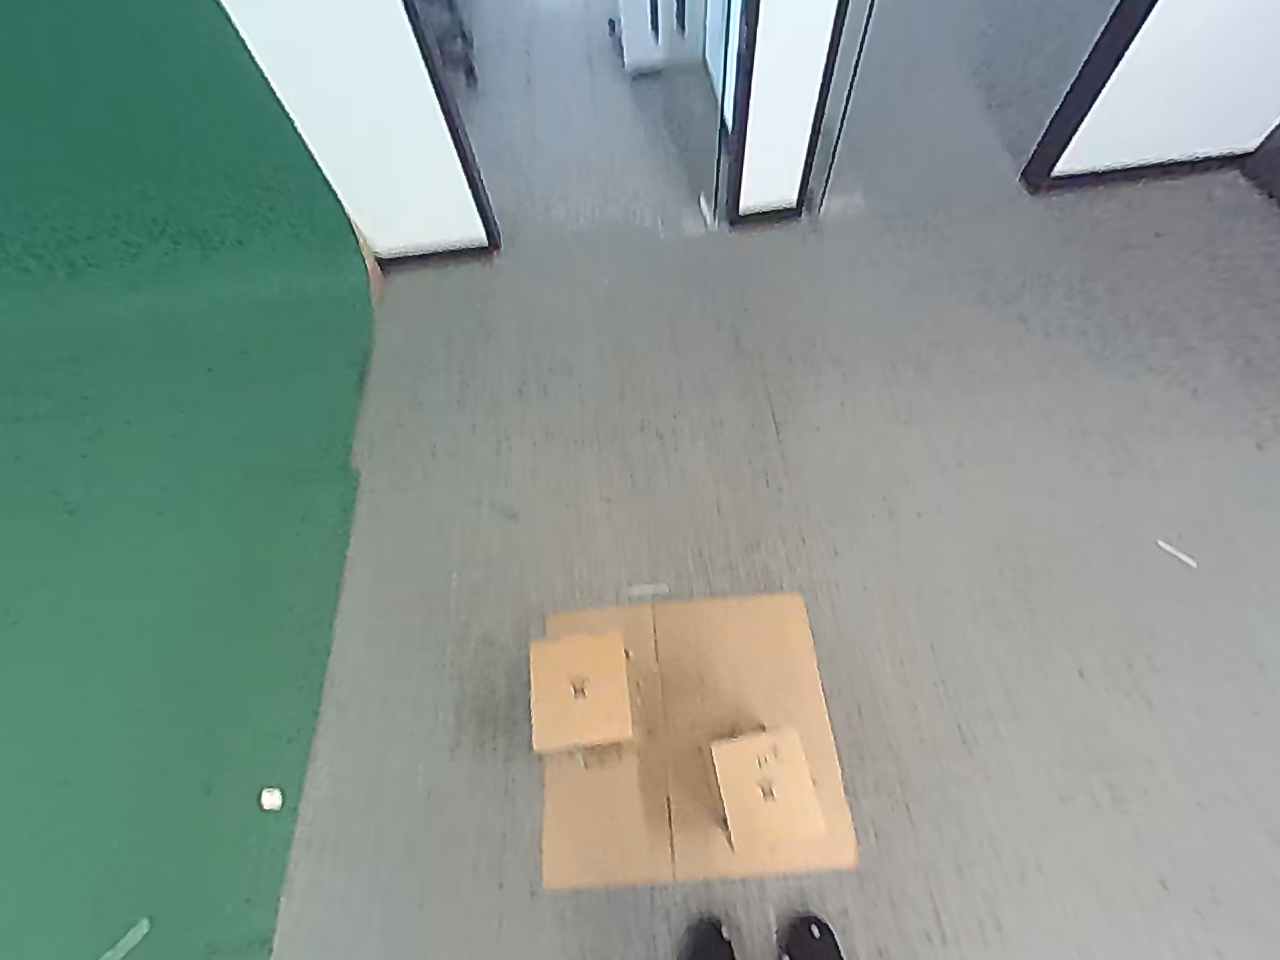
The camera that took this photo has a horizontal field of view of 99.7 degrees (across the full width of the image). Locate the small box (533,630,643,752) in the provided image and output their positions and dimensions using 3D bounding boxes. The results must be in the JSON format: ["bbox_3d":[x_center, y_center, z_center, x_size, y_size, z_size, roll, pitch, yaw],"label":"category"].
[{"bbox_3d":[-0.090,0.386,0.976,0.168,0.176,0.179,-9,61,1],"label":"small box"}]

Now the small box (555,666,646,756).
[{"bbox_3d":[-0.083,0.464,1.118,0.168,0.176,0.179,-9,61,0],"label":"small box"}]

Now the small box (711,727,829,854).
[{"bbox_3d":[0.235,0.579,1.023,0.168,0.176,0.179,-11,62,-2],"label":"small box"}]

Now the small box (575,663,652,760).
[{"bbox_3d":[-0.070,0.541,1.261,0.168,0.176,0.179,-12,62,-2],"label":"small box"}]
